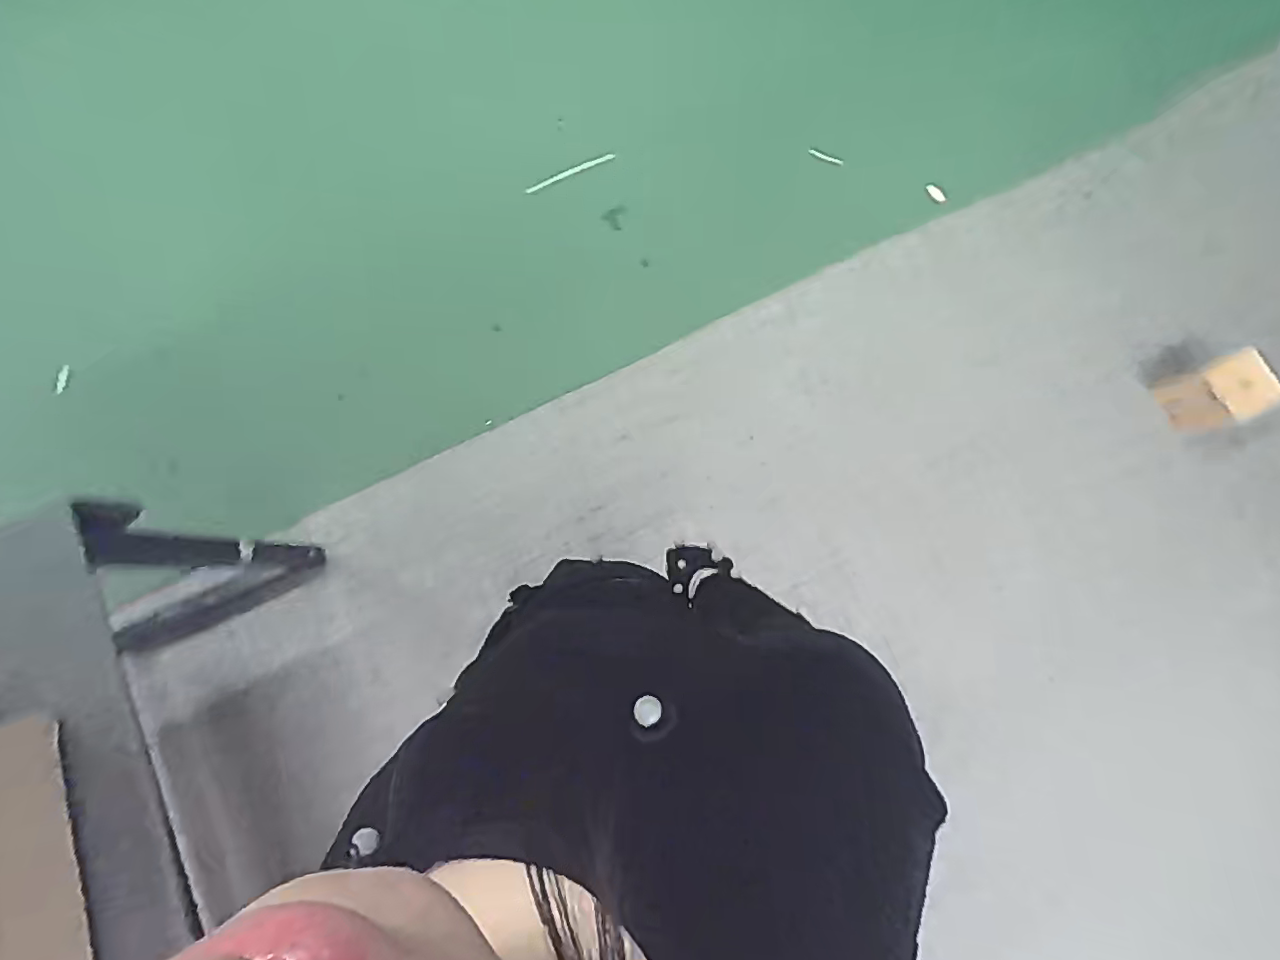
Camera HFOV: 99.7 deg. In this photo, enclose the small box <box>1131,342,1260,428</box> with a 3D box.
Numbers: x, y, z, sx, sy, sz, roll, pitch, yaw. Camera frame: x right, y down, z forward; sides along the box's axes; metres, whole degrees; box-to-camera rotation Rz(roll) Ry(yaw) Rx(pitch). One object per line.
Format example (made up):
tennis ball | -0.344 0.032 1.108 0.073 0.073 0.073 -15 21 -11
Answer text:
small box | 1.627 -0.274 1.595 0.179 0.176 0.168 -27 82 -6
